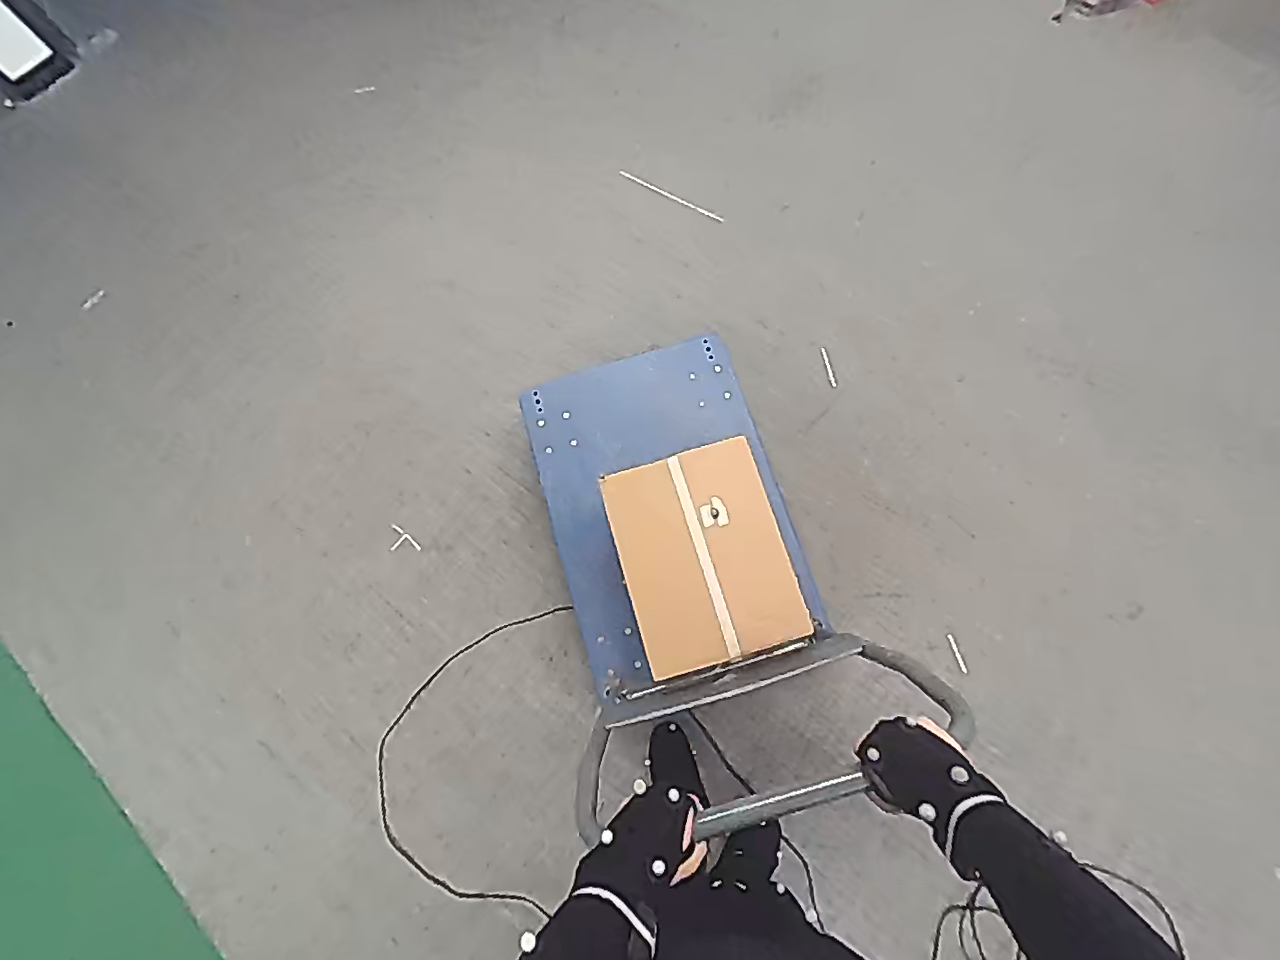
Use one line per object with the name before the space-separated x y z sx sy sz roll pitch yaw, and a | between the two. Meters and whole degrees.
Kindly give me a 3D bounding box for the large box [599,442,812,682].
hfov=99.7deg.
large box | 0.128 0.183 1.189 0.320 0.320 0.408 -16 75 -2
